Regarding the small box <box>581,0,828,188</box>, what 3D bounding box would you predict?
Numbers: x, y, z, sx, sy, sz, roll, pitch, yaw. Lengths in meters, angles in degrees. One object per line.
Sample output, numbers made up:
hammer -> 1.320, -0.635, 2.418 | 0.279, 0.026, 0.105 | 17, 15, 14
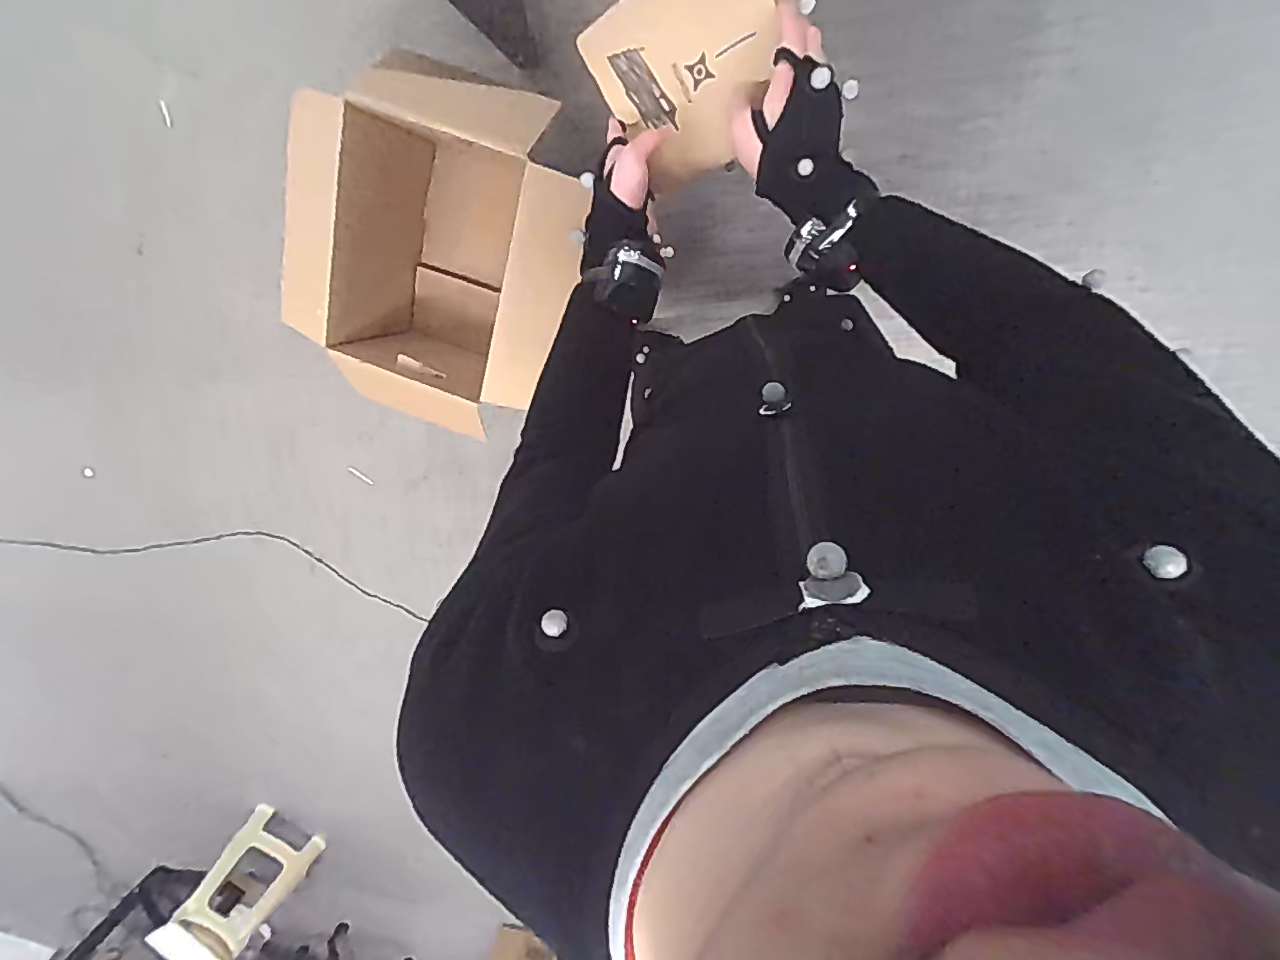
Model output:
small box -> 0.076, -0.437, 0.550 | 0.179, 0.176, 0.168 | -14, 124, 33
